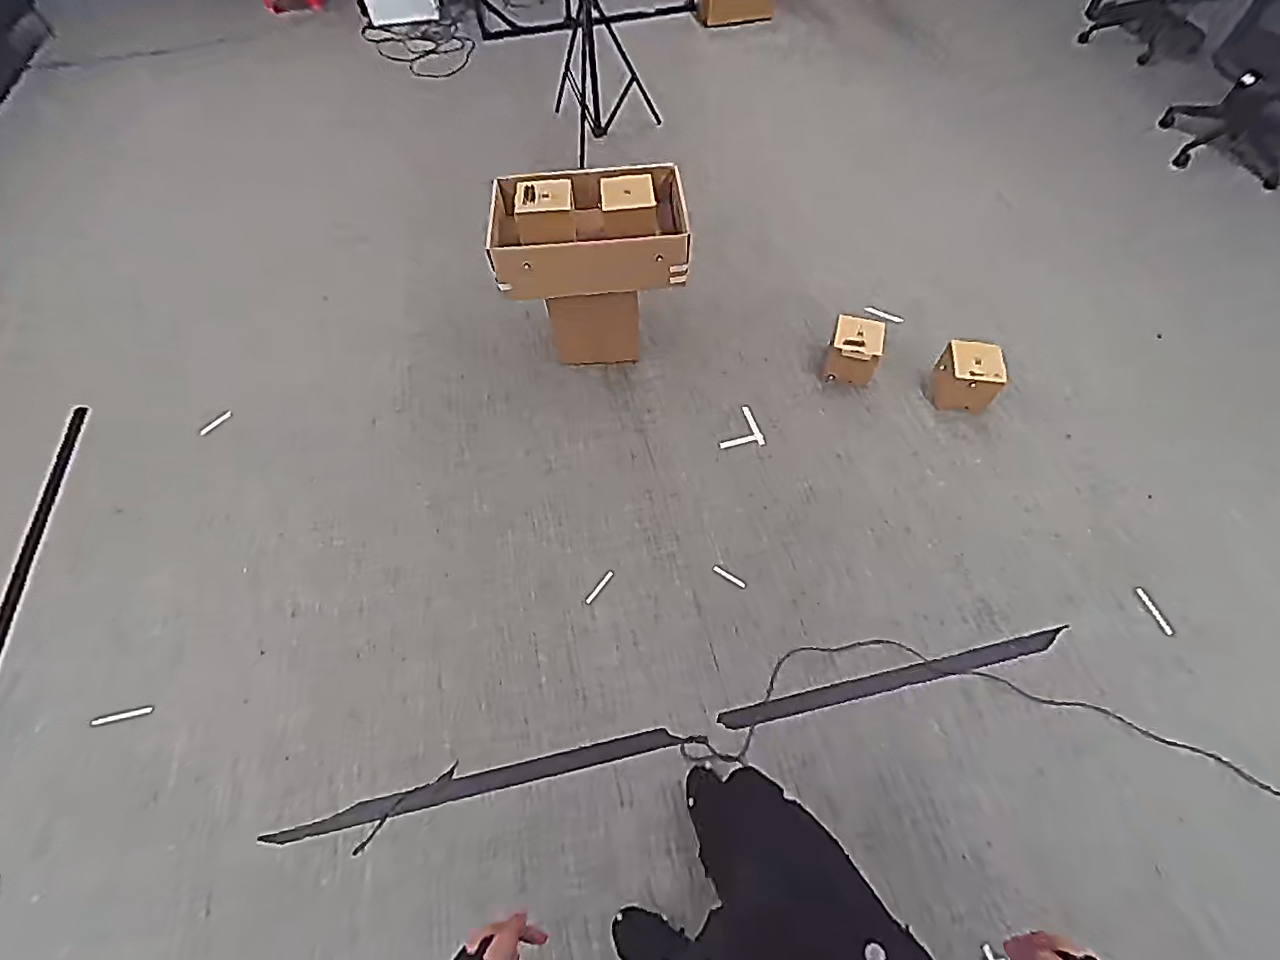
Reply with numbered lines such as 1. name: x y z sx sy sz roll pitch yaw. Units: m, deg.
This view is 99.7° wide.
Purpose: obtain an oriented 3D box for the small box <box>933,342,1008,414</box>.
1. small box: 1.158 -0.359 1.908 0.168 0.176 0.179 8 59 8

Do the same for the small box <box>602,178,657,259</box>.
1. small box: -0.032 -0.851 1.764 0.168 0.176 0.179 -6 58 1

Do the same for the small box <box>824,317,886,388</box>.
1. small box: 0.785 -0.465 1.987 0.168 0.176 0.179 14 61 11
